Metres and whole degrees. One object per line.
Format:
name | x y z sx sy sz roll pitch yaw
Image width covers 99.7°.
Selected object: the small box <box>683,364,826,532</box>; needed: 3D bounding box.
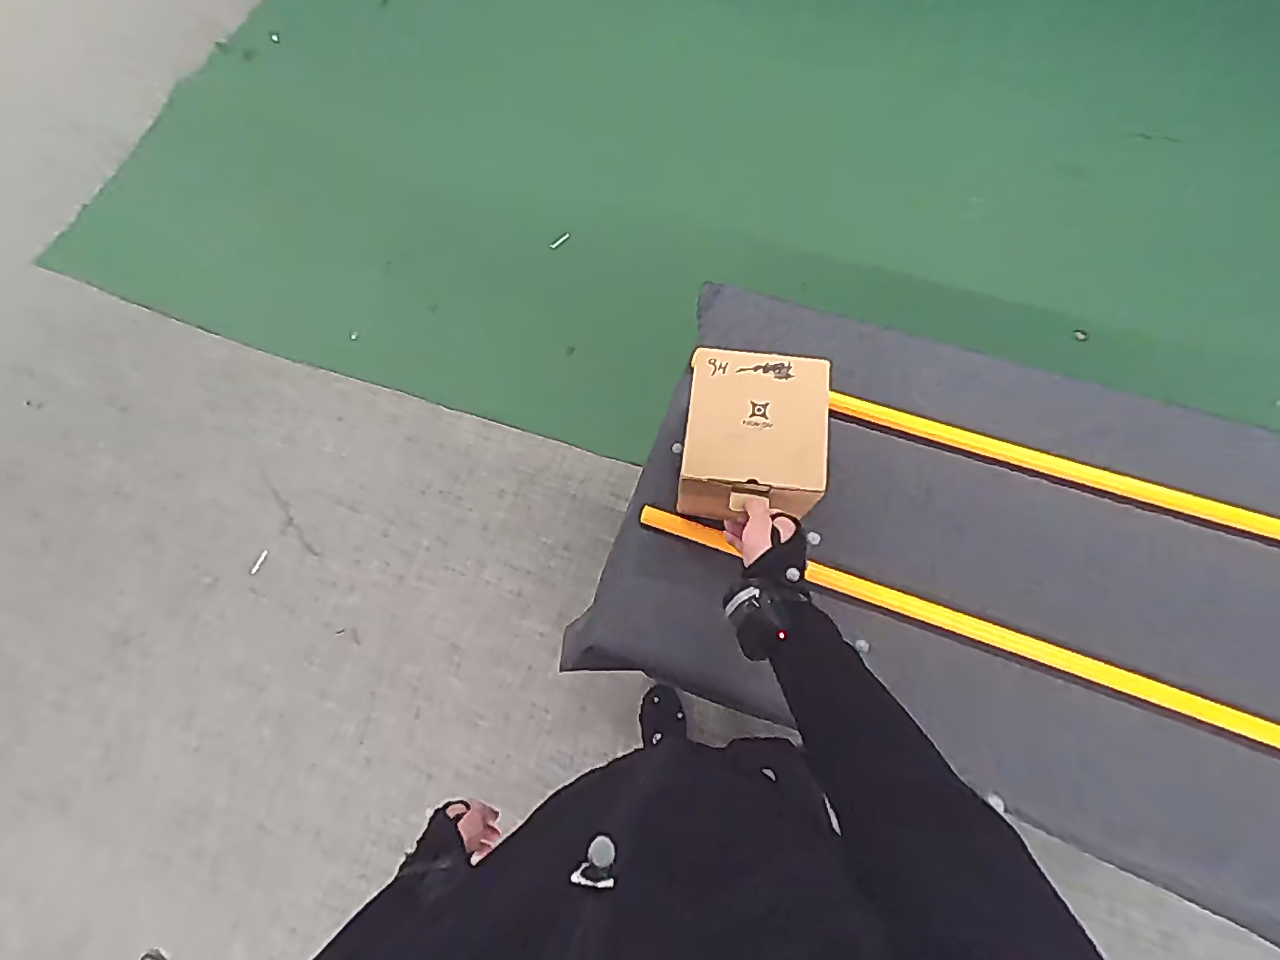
small box | 0.147 -0.035 0.724 0.168 0.176 0.179 3 71 6
